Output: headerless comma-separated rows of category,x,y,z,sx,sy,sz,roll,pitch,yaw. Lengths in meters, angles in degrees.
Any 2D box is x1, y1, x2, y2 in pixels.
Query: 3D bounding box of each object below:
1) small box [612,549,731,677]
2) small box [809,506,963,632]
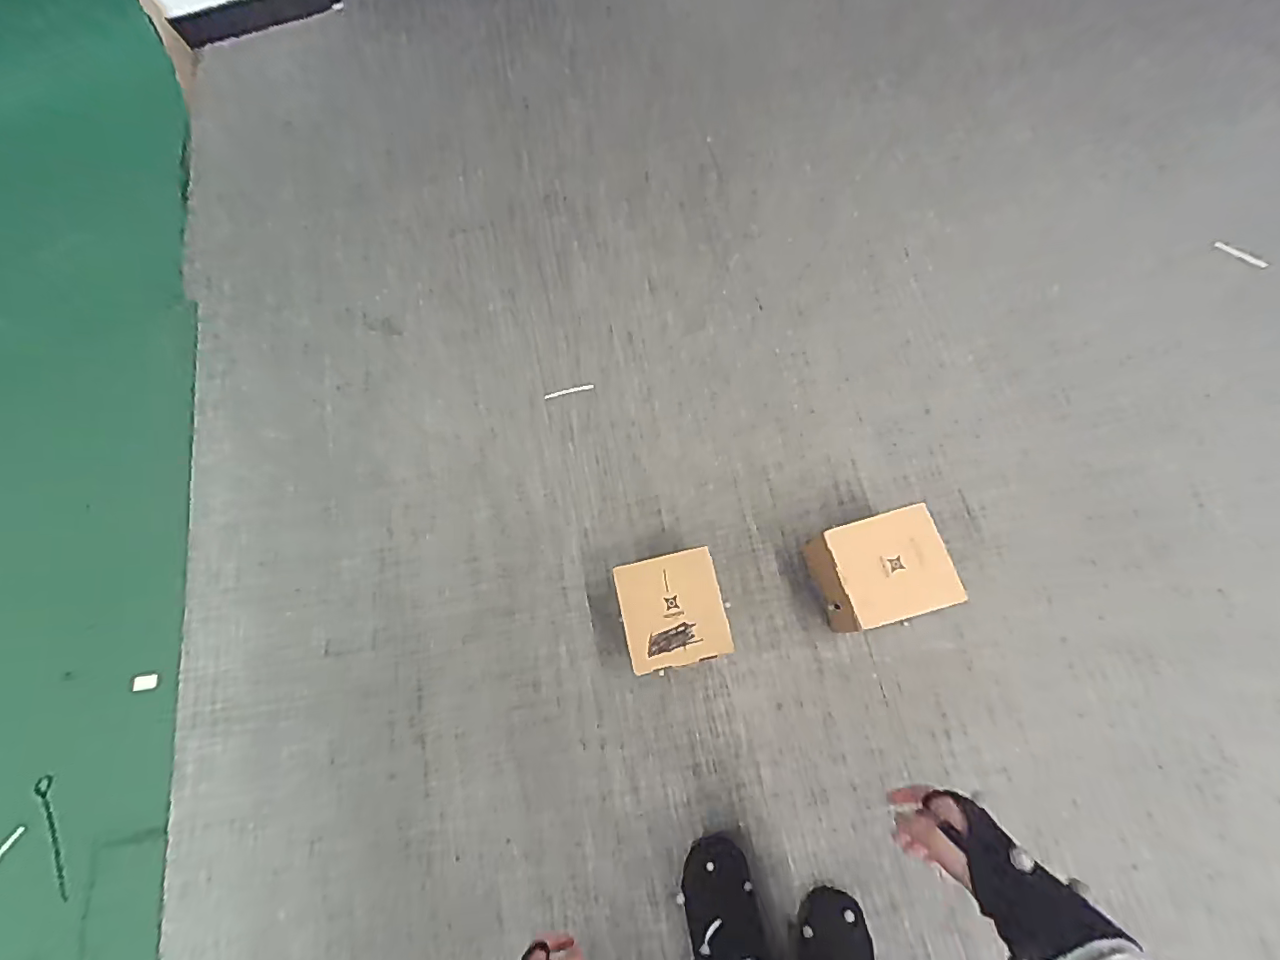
small box,0.058,0.234,0.950,0.168,0.176,0.179,-14,72,2
small box,0.404,0.162,0.932,0.179,0.176,0.168,-17,73,2
